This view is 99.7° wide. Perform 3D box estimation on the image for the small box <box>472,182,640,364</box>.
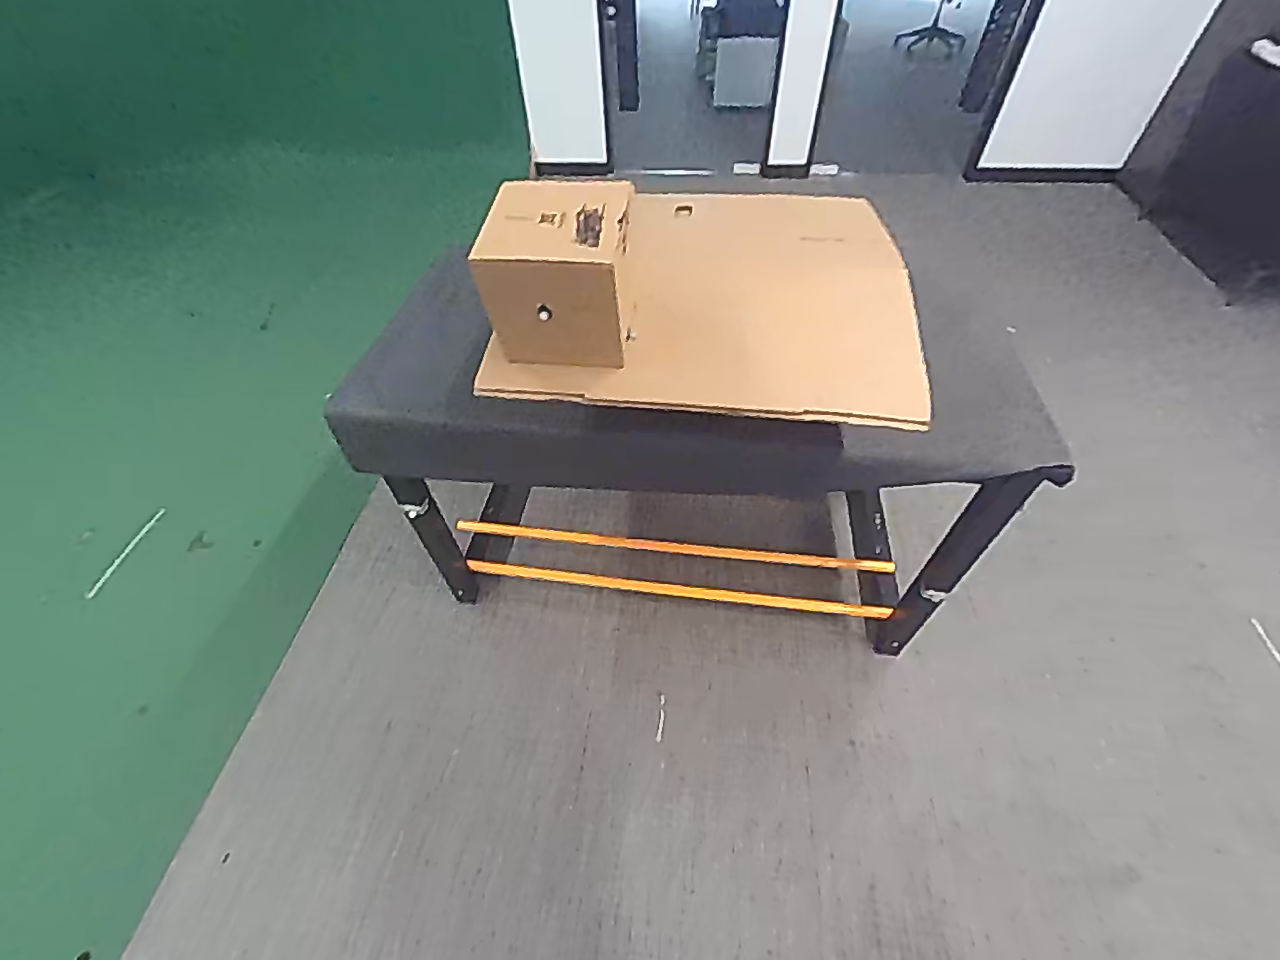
[{"bbox_3d":[-0.098,-0.274,0.734,0.179,0.176,0.168,4,58,7],"label":"small box"}]
